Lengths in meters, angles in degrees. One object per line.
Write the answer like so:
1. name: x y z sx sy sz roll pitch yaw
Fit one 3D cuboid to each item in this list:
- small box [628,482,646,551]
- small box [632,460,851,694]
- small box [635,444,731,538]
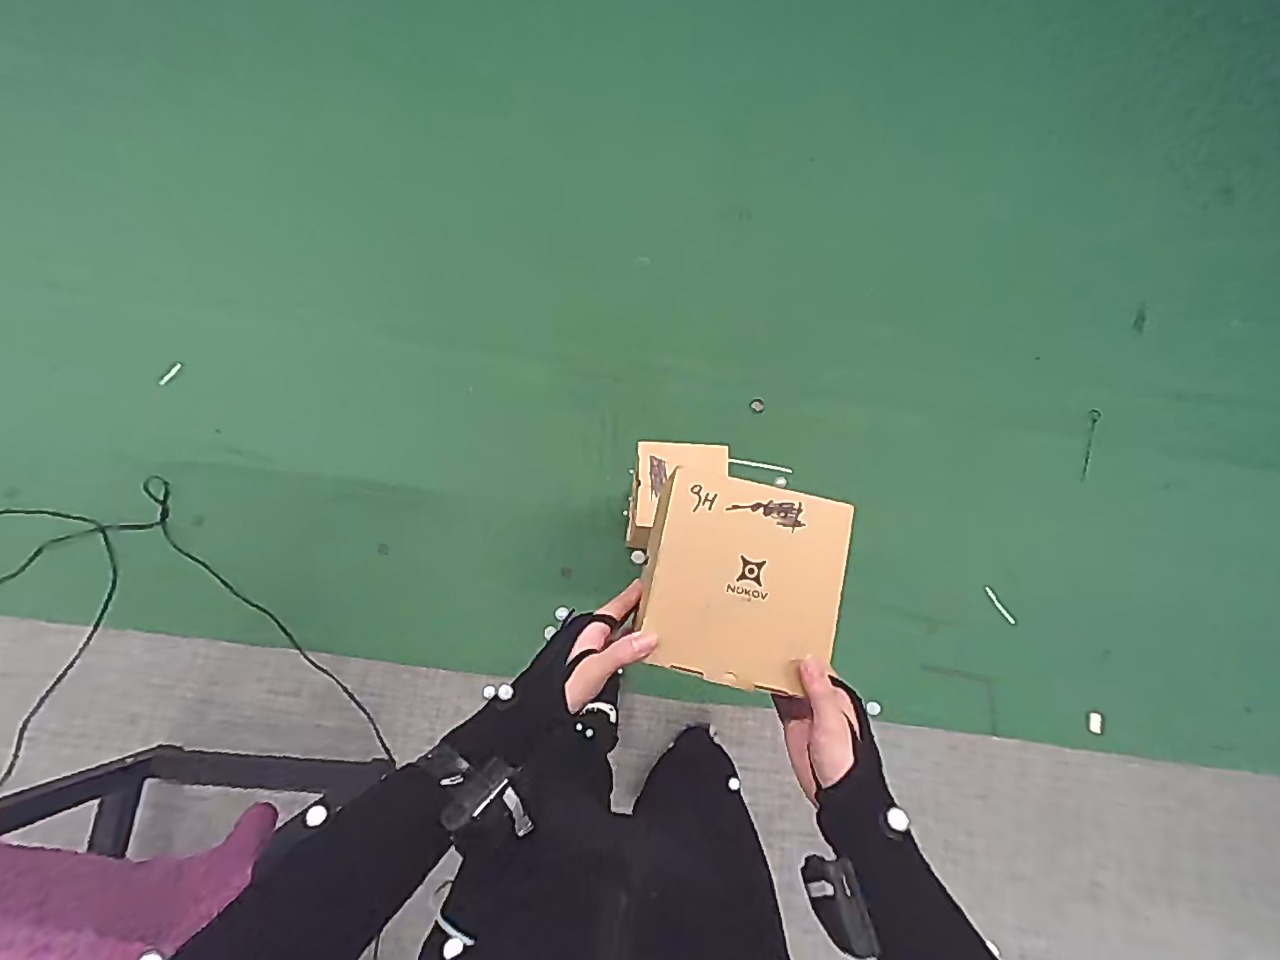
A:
1. small box: 0.065 0.105 1.414 0.179 0.176 0.168 7 77 0
2. small box: 0.089 0.094 0.554 0.168 0.176 0.179 13 81 -2
3. small box: 0.081 0.032 1.096 0.179 0.176 0.168 3 78 -2
